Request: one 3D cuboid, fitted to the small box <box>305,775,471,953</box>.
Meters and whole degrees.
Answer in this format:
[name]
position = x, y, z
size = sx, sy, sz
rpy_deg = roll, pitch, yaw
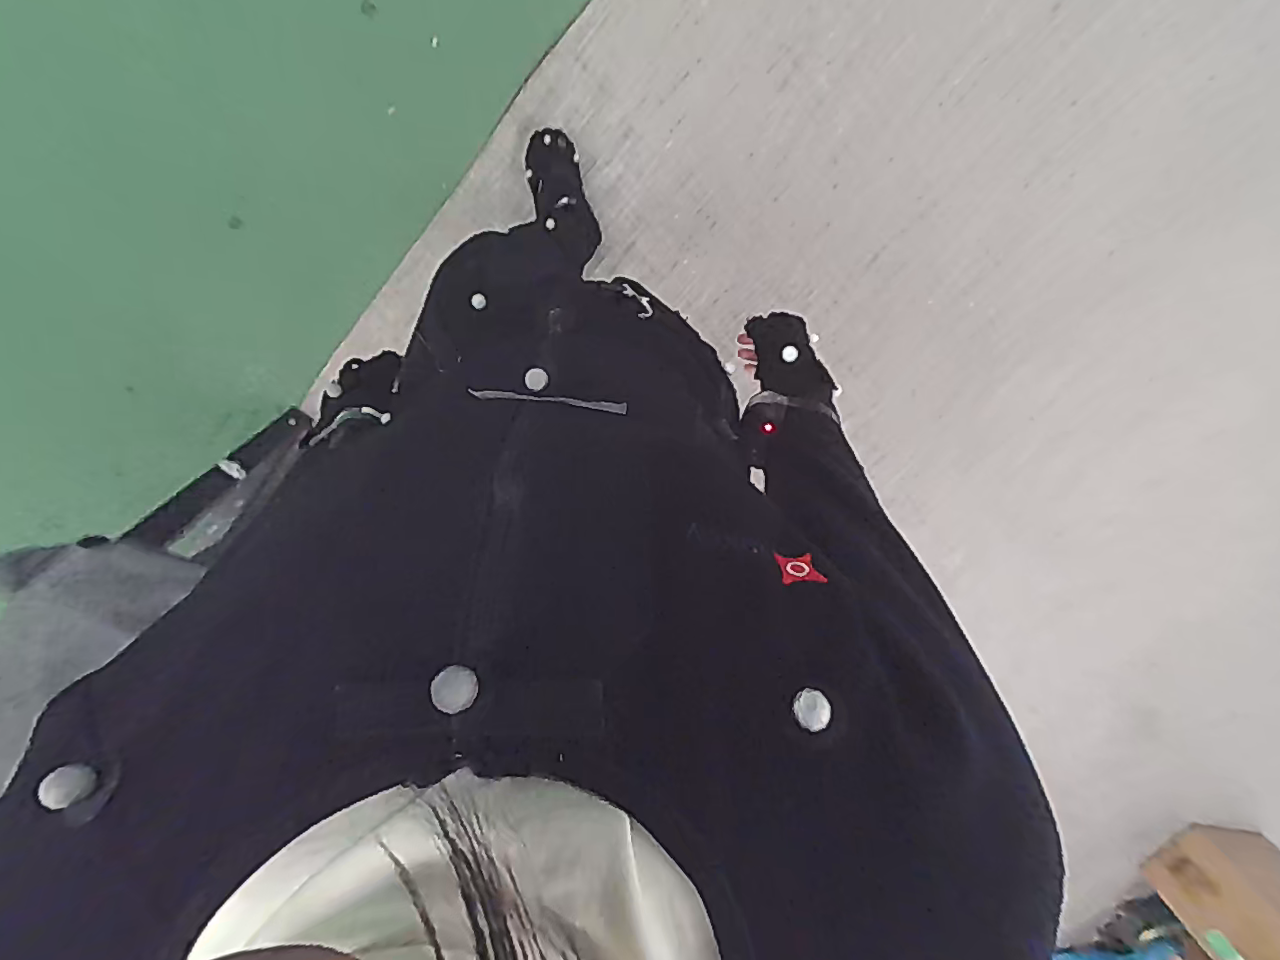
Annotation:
[small box]
position = -0.405, 0.636, 0.903
size = 0.168, 0.176, 0.179
rpy_deg = 39, 109, -24
